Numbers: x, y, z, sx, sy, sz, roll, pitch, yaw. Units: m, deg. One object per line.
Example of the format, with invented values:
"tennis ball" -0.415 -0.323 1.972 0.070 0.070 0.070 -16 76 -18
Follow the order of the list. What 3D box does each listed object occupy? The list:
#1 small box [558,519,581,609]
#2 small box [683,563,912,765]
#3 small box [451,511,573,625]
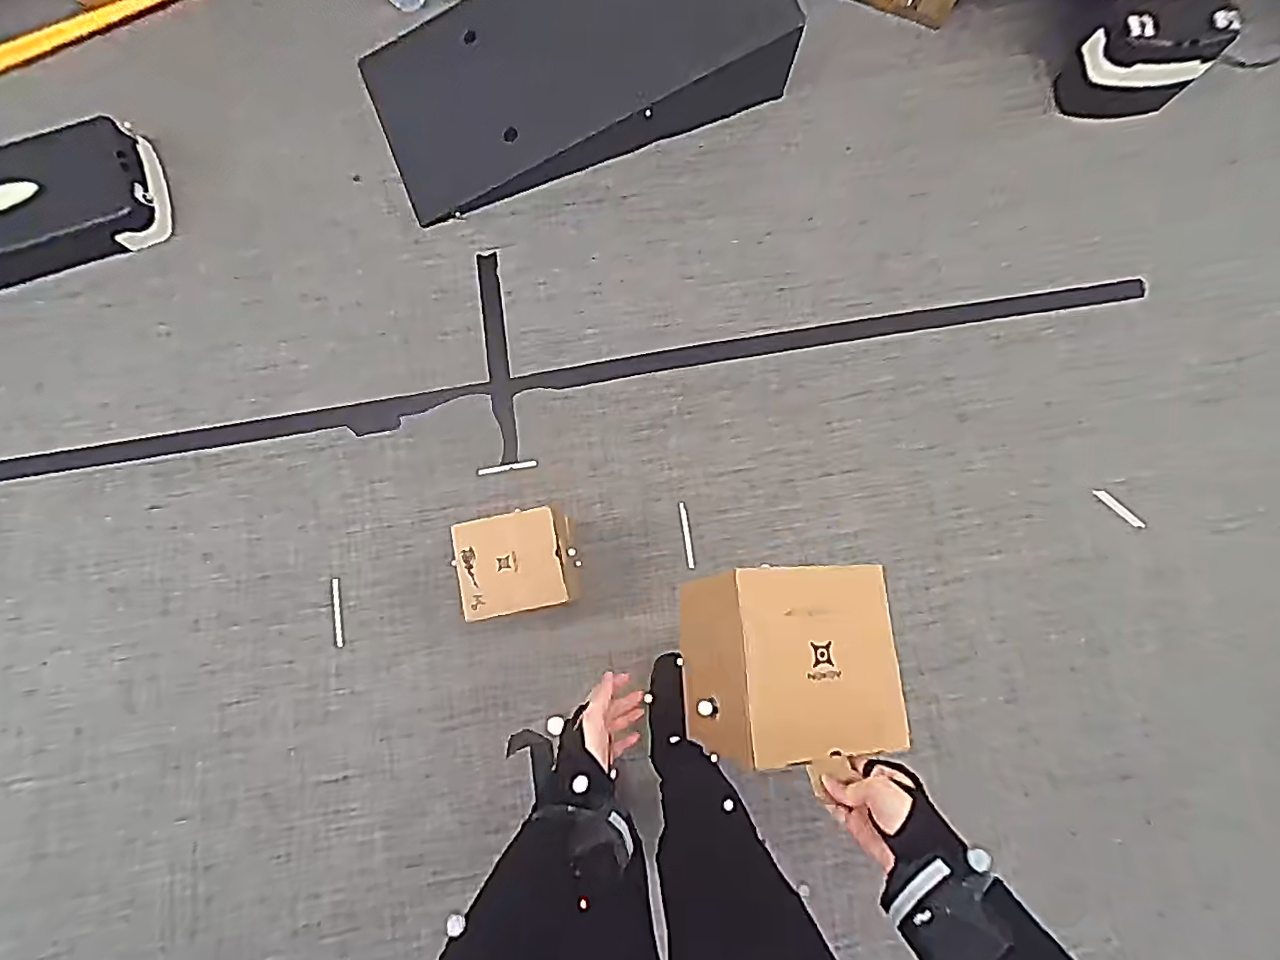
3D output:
"small box" -0.218 0.180 1.138 0.168 0.176 0.179 -6 82 -2
"small box" 0.152 0.186 0.580 0.168 0.176 0.179 2 73 -15
"small box" -0.220 0.155 0.975 0.179 0.176 0.168 -11 82 -4
